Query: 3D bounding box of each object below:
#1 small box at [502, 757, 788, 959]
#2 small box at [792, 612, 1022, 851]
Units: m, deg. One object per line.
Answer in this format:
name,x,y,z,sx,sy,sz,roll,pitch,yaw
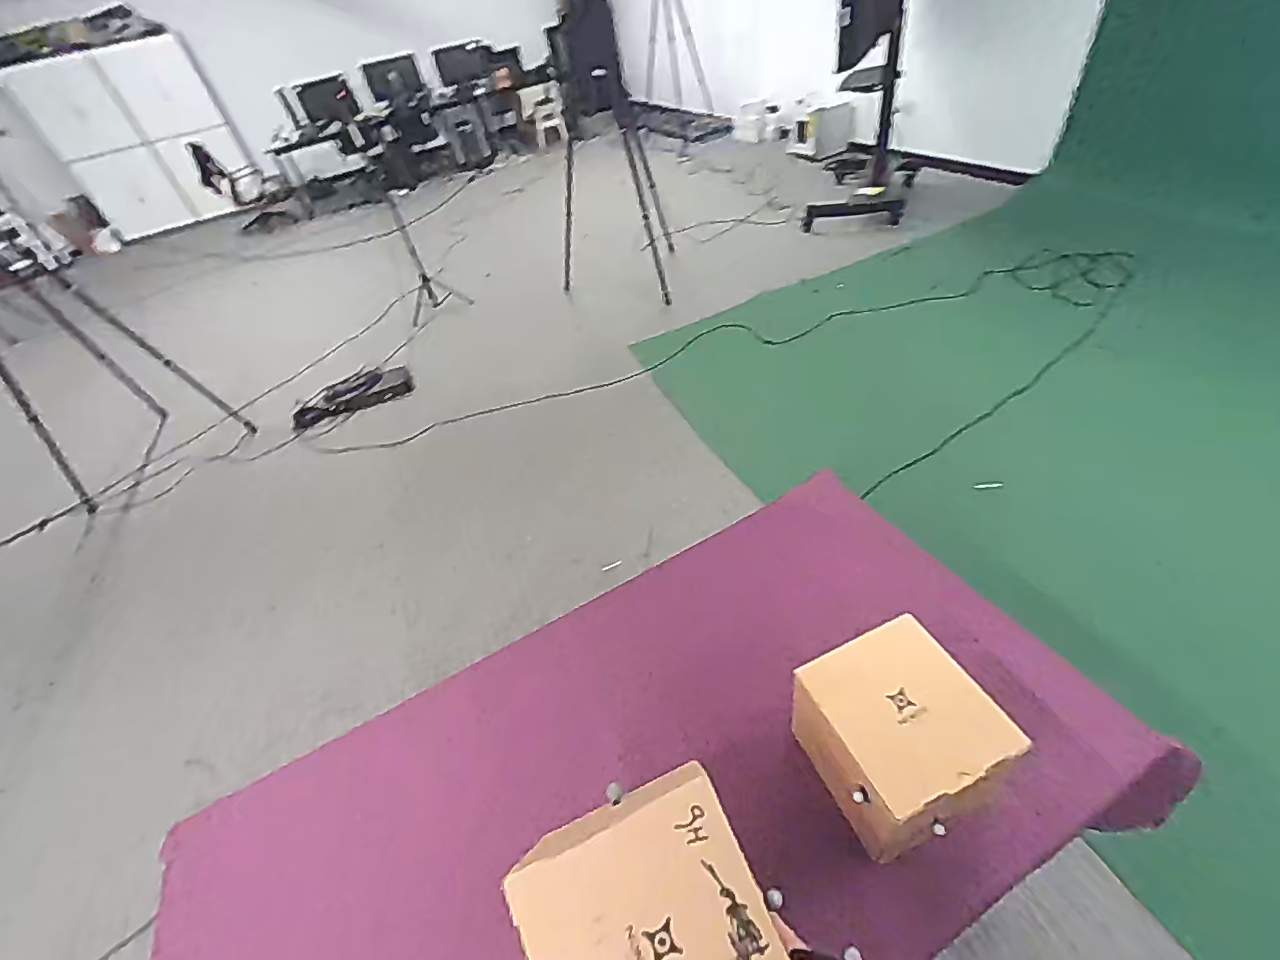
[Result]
small box,0.010,0.360,0.461,0.179,0.176,0.168,-24,68,-7
small box,0.297,0.300,0.649,0.168,0.176,0.179,-22,44,-10
